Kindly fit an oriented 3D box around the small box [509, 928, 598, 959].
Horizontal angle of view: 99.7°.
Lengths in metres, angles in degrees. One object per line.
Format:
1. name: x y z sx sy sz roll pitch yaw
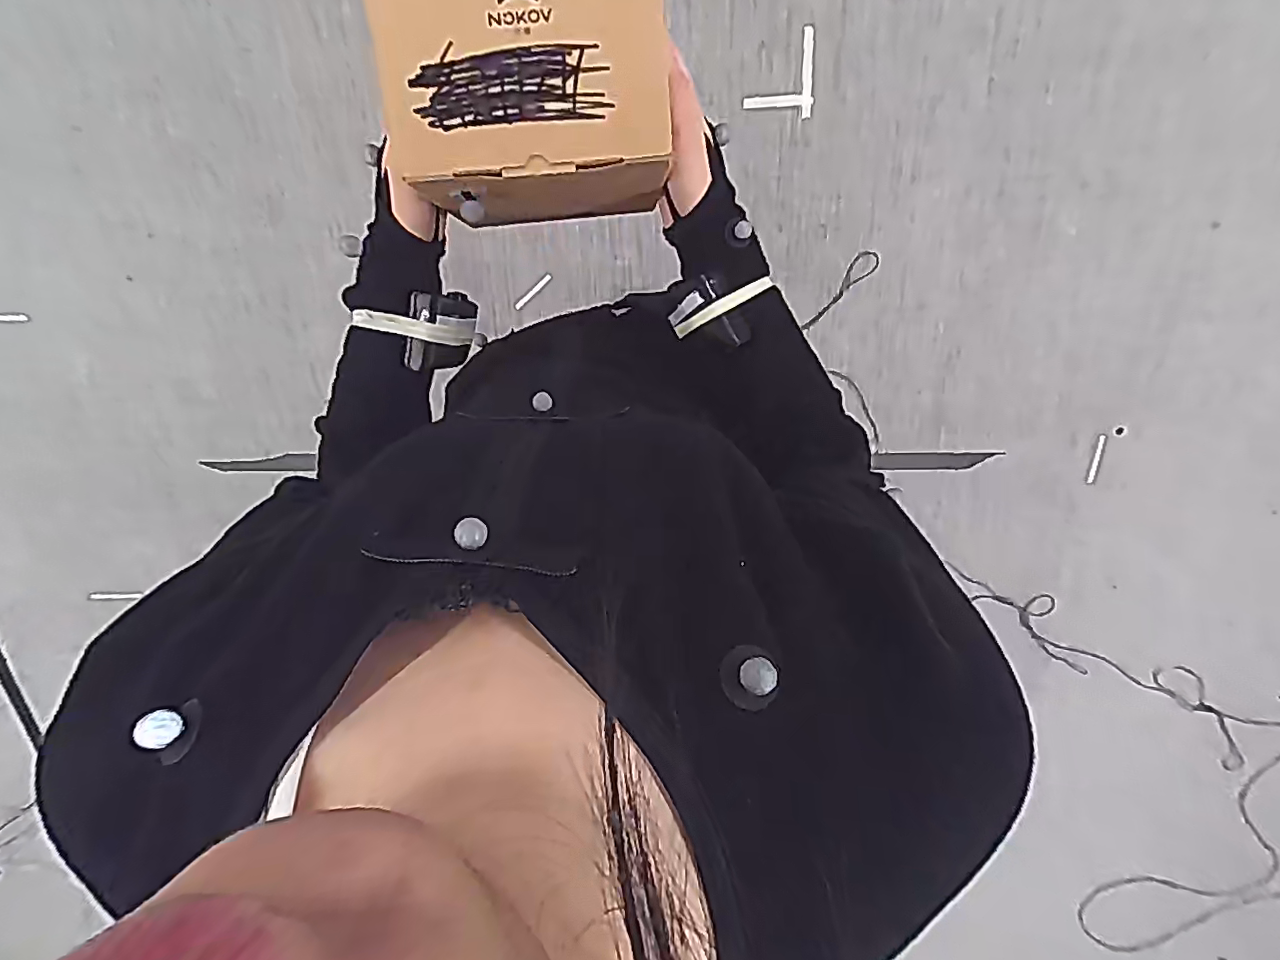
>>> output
1. small box: -0.162 0.973 0.995 0.168 0.176 0.179 1 110 -2
